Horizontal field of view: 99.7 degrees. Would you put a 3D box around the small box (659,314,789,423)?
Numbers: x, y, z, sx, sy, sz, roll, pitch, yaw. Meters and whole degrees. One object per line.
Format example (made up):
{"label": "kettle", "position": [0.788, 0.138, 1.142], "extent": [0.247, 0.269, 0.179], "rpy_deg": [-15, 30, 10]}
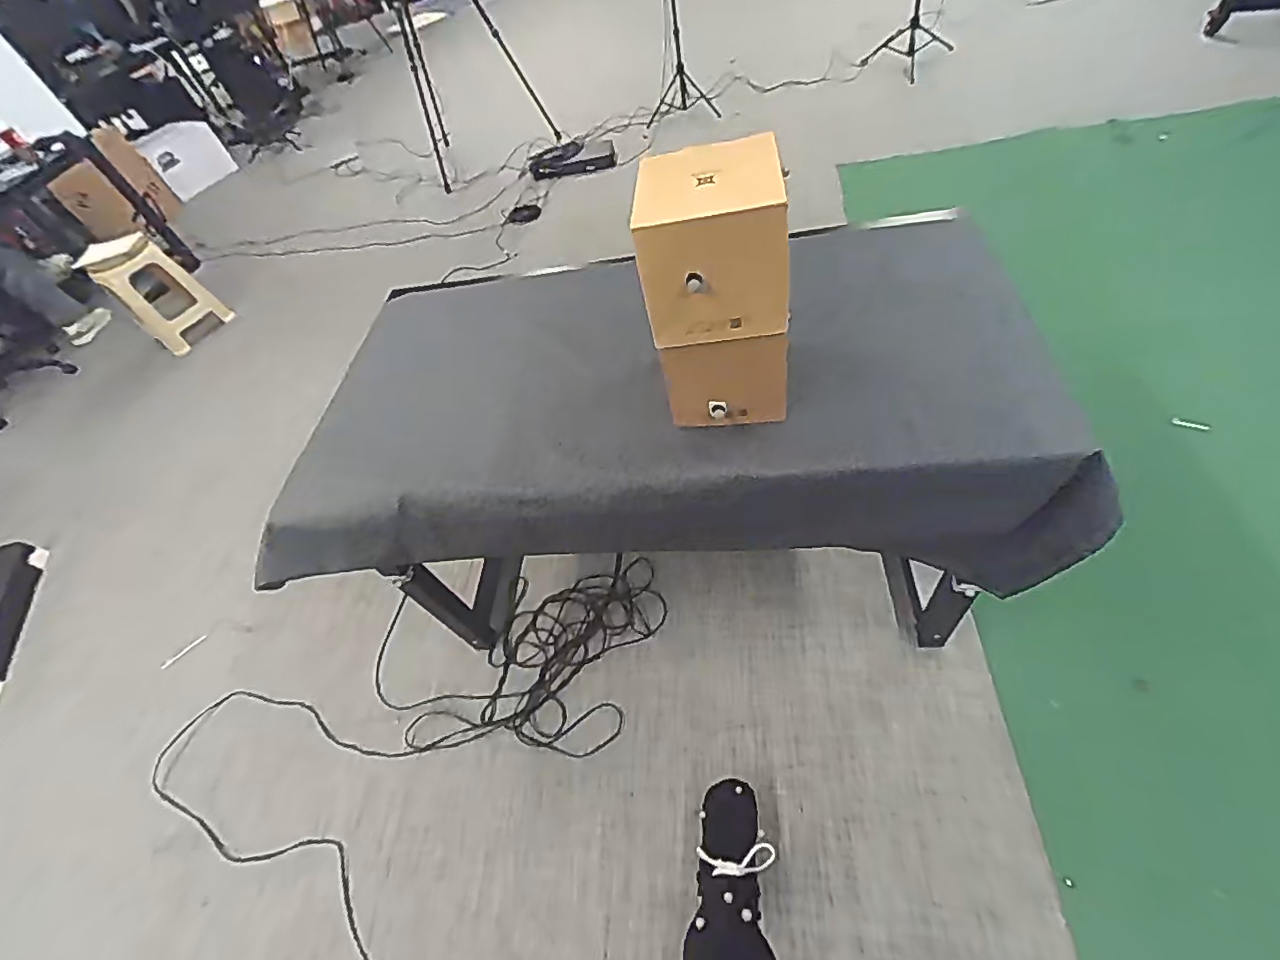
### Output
{"label": "small box", "position": [0.127, -0.206, 0.793], "extent": [0.168, 0.176, 0.179], "rpy_deg": [-4, 54, 12]}

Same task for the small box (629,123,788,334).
{"label": "small box", "position": [0.090, -0.295, 0.662], "extent": [0.168, 0.176, 0.179], "rpy_deg": [-5, 52, 12]}
